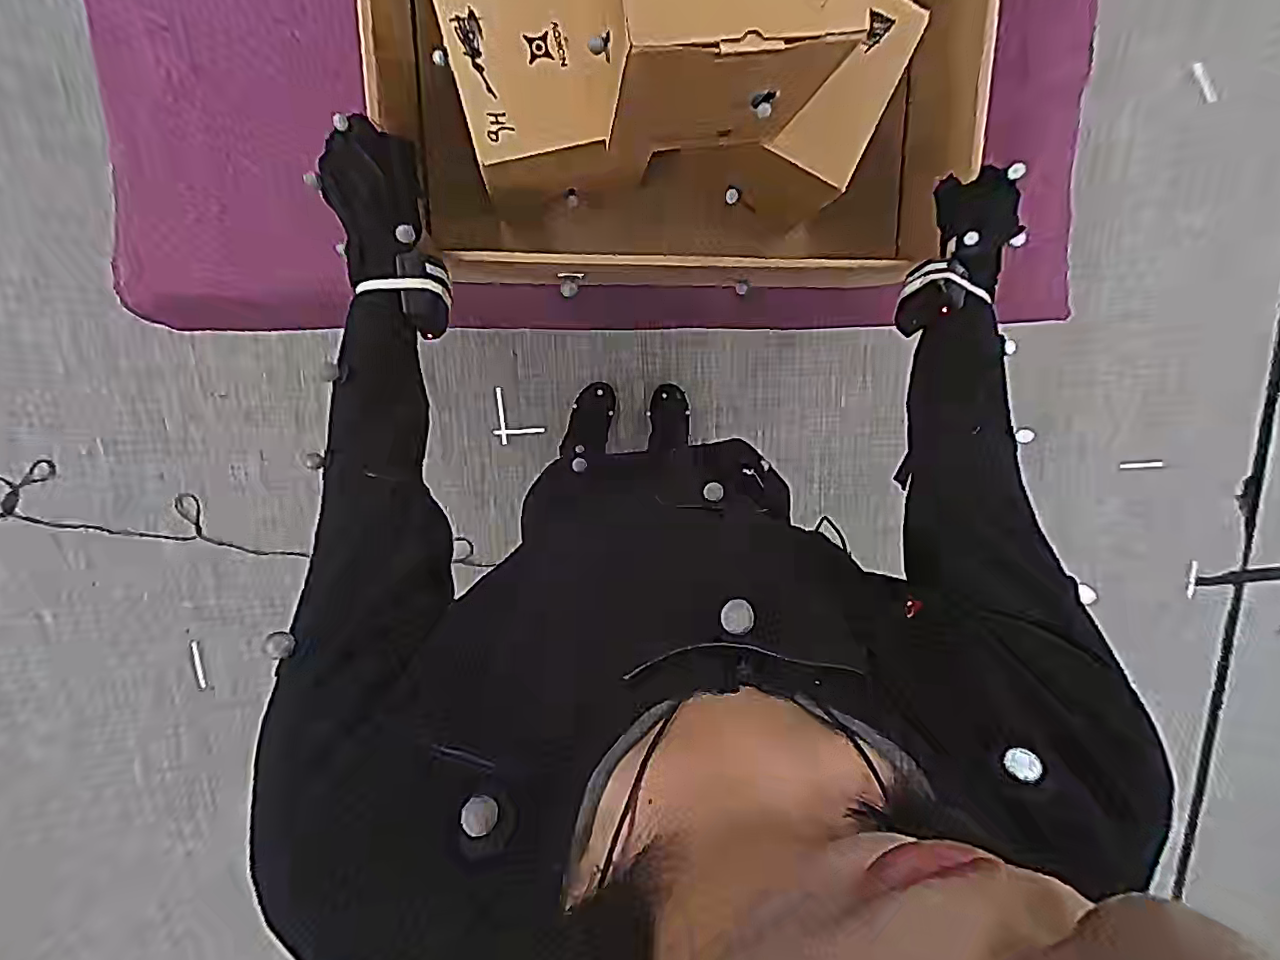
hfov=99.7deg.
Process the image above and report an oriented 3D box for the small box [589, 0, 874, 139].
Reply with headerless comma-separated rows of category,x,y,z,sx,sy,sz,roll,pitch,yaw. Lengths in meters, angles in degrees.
small box,0.051,-0.380,0.403,0.168,0.176,0.179,-9,101,-7
